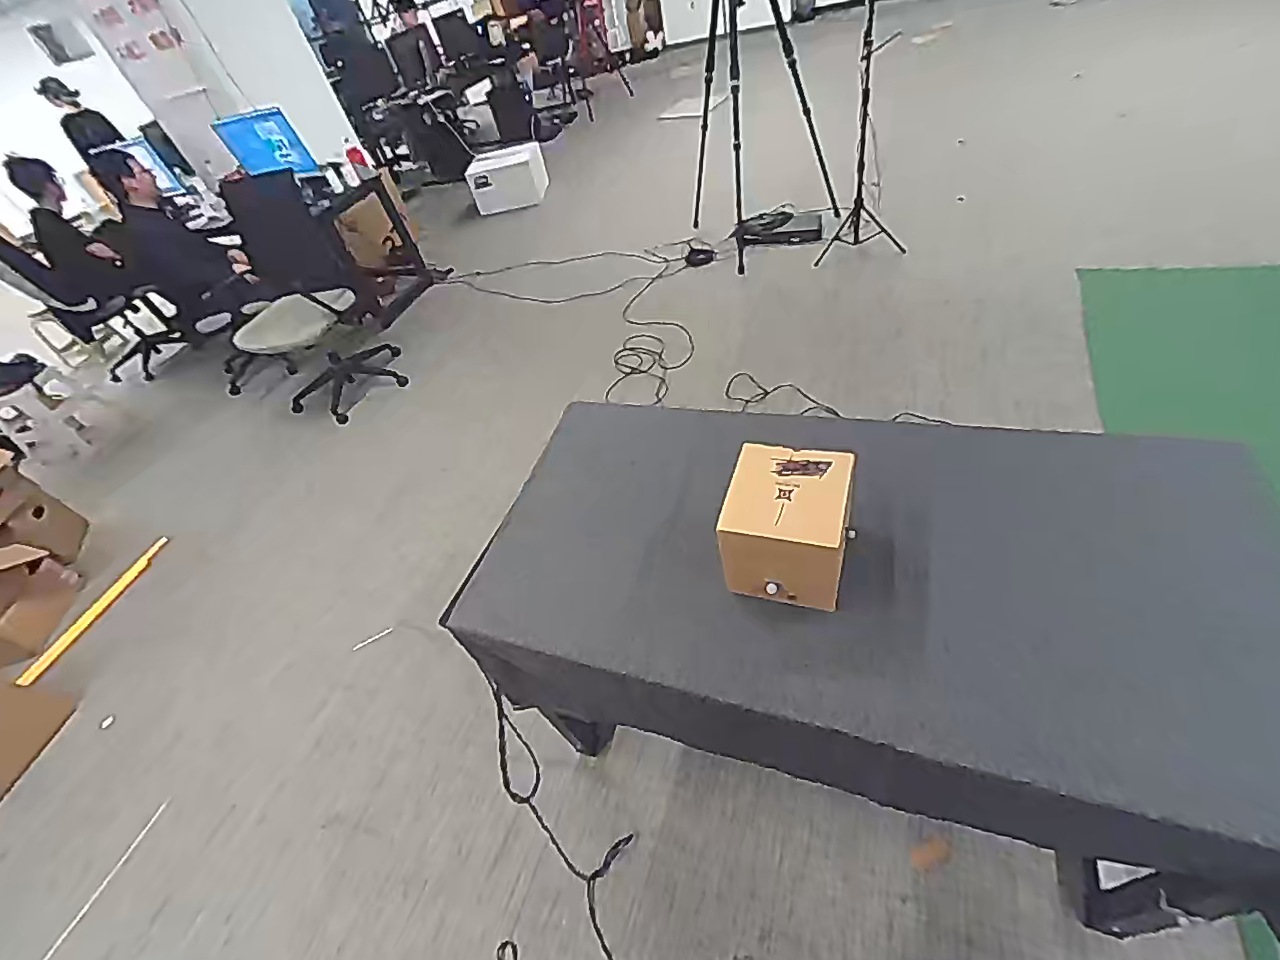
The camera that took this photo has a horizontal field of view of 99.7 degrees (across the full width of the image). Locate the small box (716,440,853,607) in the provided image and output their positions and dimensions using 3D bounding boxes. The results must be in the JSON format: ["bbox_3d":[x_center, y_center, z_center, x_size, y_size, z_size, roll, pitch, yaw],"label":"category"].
[{"bbox_3d":[0.225,0.065,0.829,0.168,0.176,0.179,7,50,23],"label":"small box"}]
